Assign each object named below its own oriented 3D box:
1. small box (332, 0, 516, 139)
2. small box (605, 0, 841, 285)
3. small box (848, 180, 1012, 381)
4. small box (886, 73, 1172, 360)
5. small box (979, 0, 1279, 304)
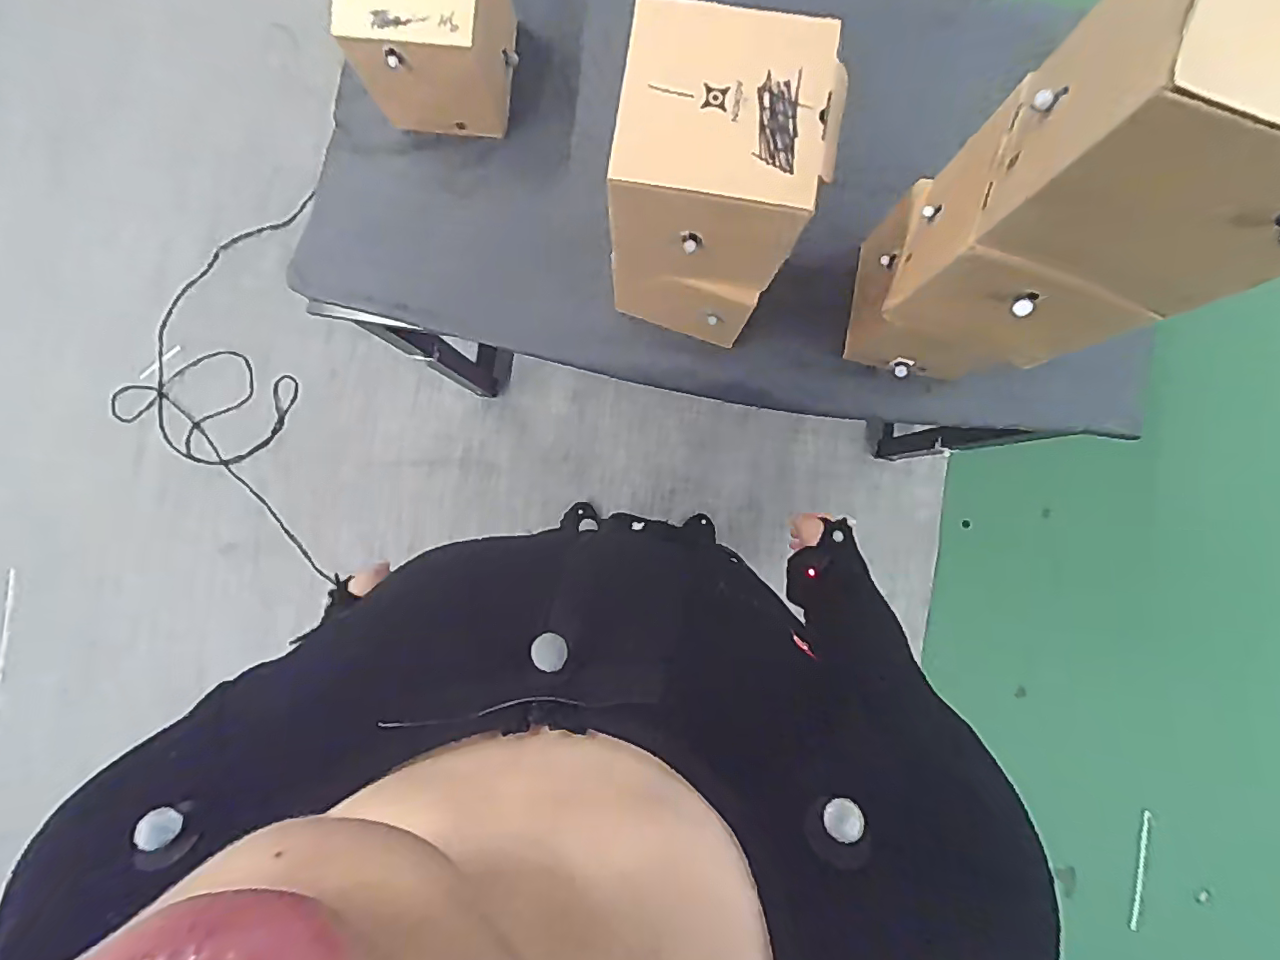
[{"bbox_3d":[-0.265,-0.588,0.702,0.168,0.176,0.179,6,89,0],"label":"small box"},{"bbox_3d":[0.069,-0.308,0.528,0.179,0.176,0.168,10,87,1],"label":"small box"},{"bbox_3d":[0.383,-0.240,0.690,0.168,0.176,0.179,10,88,2],"label":"small box"},{"bbox_3d":[0.380,-0.232,0.527,0.179,0.176,0.168,21,88,2],"label":"small box"},{"bbox_3d":[0.381,-0.241,0.362,0.179,0.176,0.168,22,87,3],"label":"small box"}]
